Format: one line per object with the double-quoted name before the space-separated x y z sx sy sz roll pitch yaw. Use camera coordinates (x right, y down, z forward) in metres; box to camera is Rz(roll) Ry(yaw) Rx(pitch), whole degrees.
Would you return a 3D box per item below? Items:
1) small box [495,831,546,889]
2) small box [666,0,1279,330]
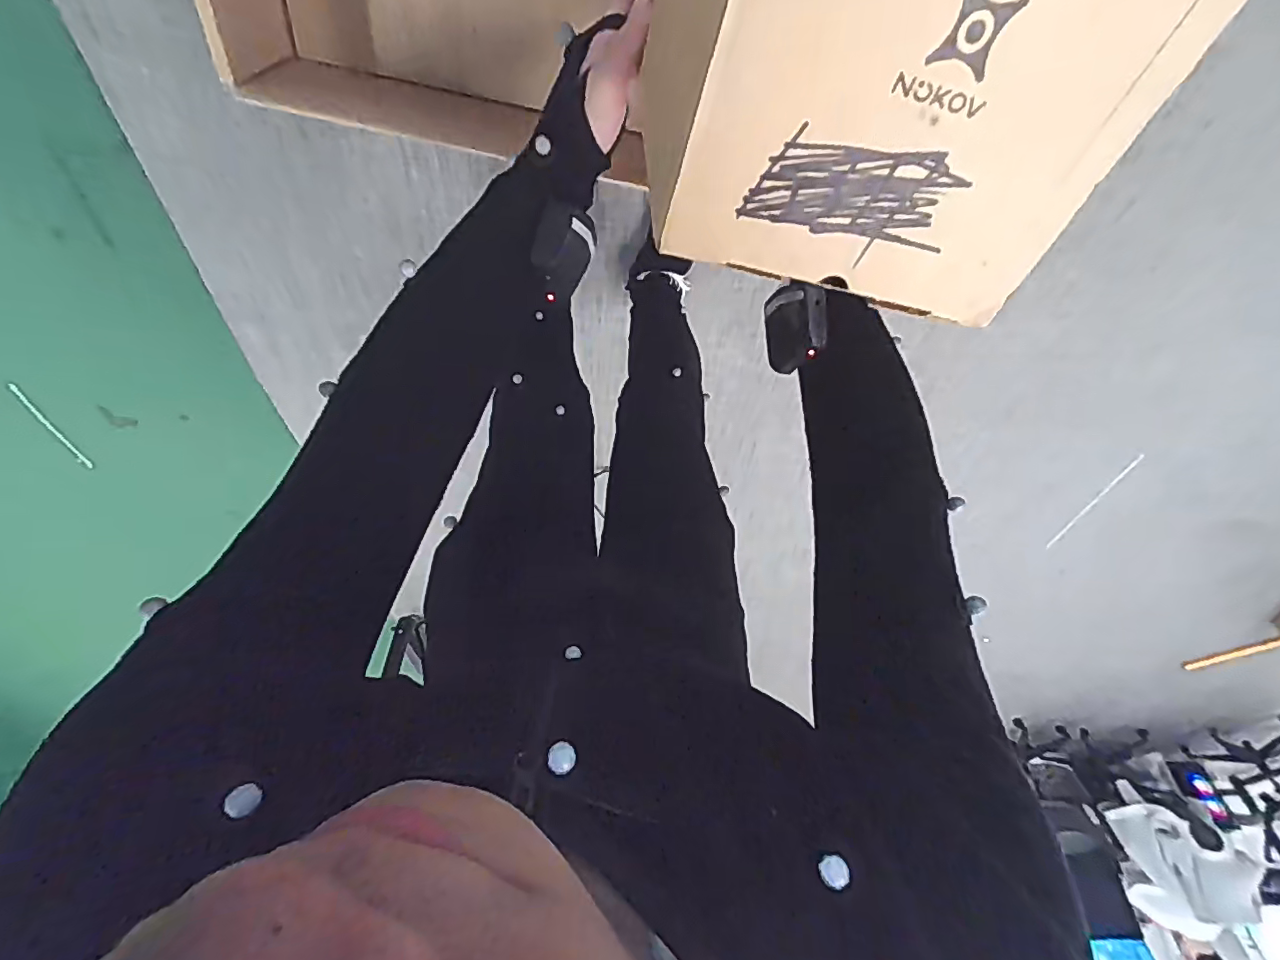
"small box" -0.467 1.502 2.134 0.168 0.176 0.179 1 137 -2
"small box" 0.112 -0.198 0.234 0.168 0.176 0.179 8 136 -12
